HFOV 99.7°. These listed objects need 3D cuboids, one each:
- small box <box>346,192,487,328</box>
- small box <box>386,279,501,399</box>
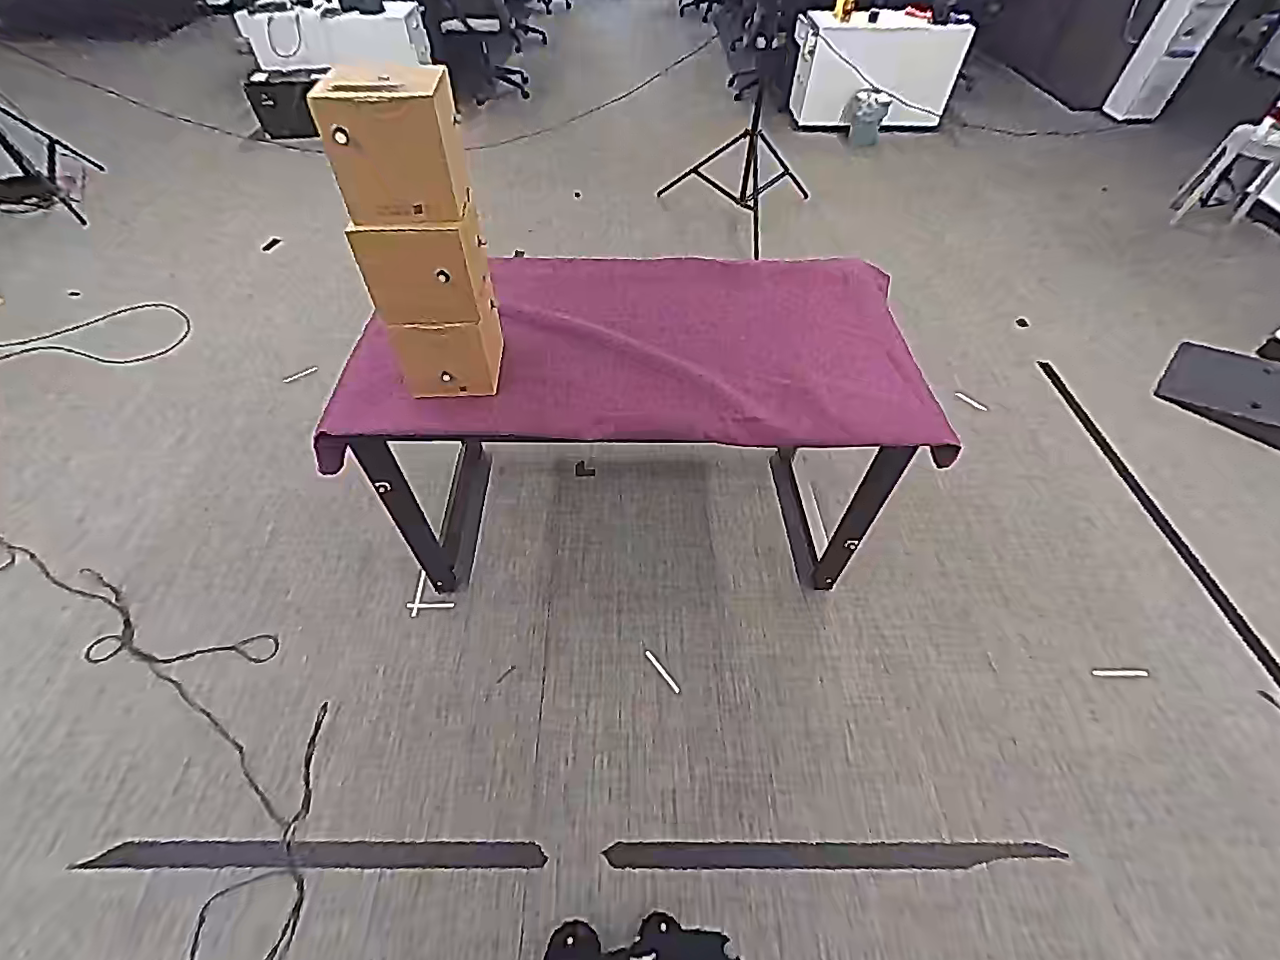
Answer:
[{"bbox_3d":[-0.376,-0.384,0.951,0.179,0.176,0.168,-4,49,-4],"label":"small box"},{"bbox_3d":[-0.377,-0.280,1.075,0.168,0.176,0.179,-3,51,-3],"label":"small box"}]
